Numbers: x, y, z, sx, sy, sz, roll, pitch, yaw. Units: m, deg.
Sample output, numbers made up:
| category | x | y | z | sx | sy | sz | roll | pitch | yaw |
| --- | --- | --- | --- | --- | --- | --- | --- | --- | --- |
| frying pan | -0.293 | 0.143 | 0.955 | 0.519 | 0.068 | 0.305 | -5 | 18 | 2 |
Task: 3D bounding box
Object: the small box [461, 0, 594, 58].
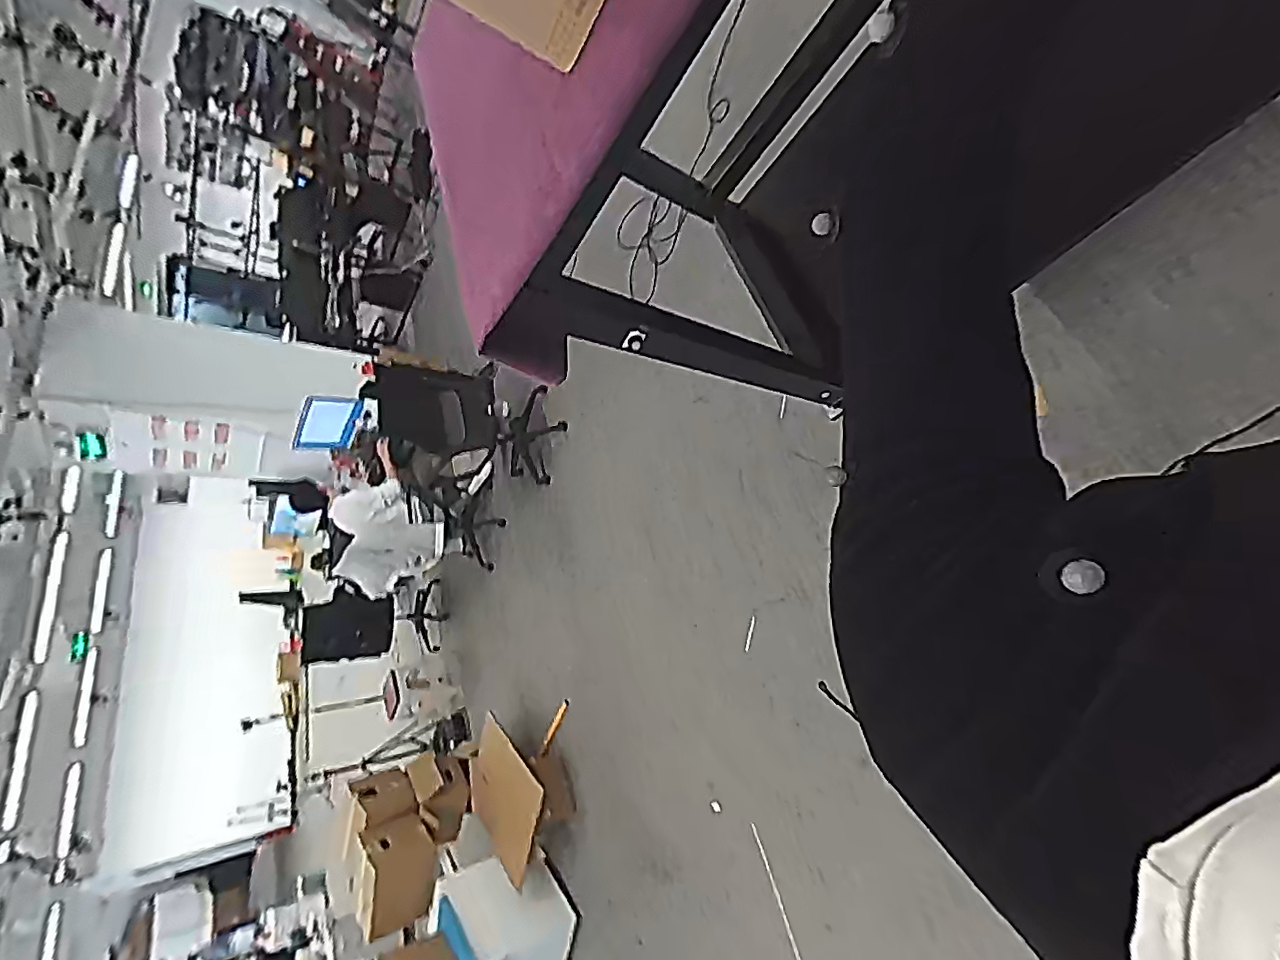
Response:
| category | x | y | z | sx | sy | sz | roll | pitch | yaw |
| --- | --- | --- | --- | --- | --- | --- | --- | --- | --- |
| small box | -0.107 | -0.472 | 0.403 | 0.168 | 0.176 | 0.179 | -43 | 53 | 40 |
